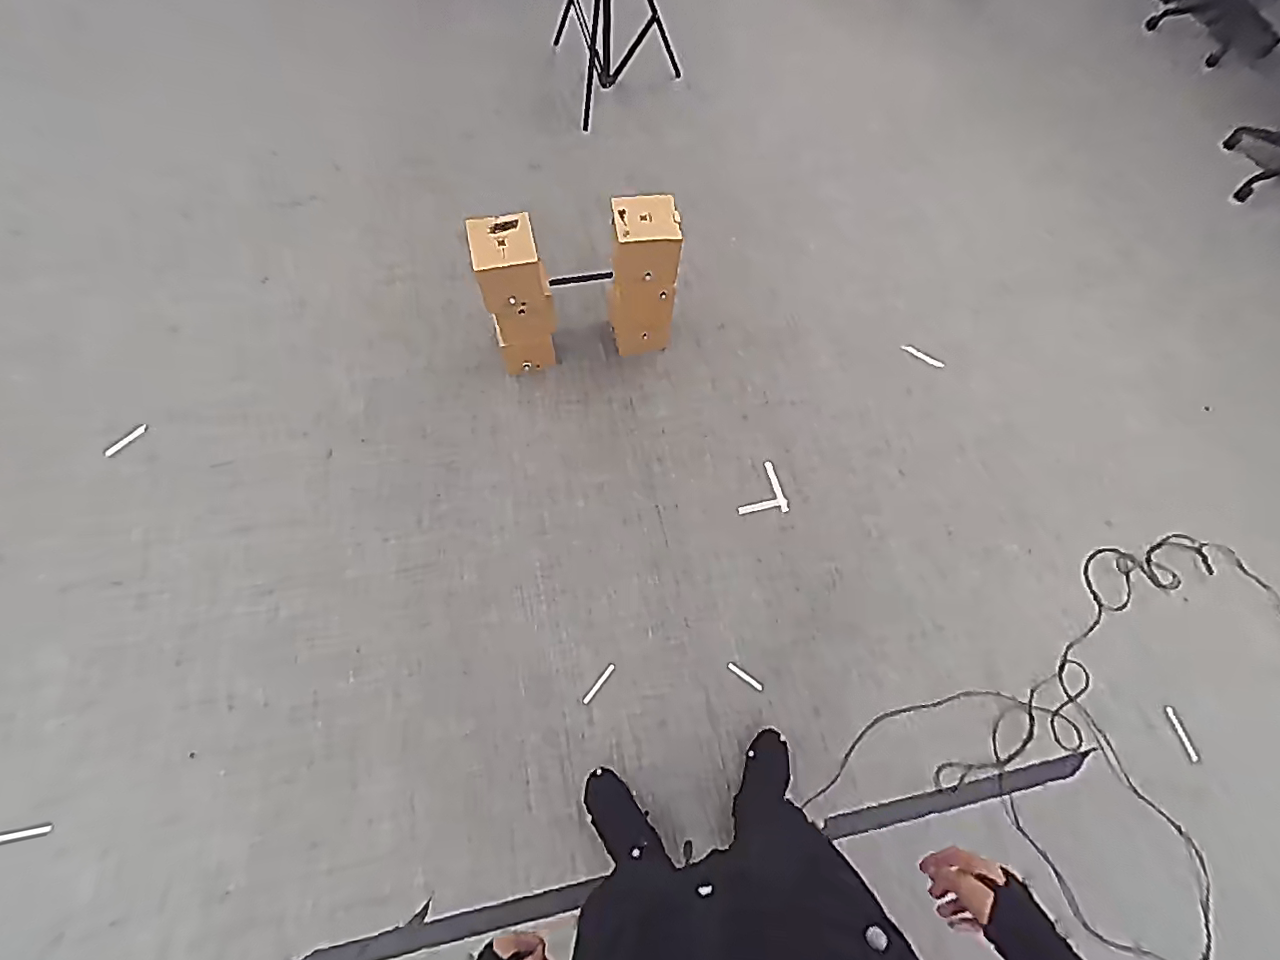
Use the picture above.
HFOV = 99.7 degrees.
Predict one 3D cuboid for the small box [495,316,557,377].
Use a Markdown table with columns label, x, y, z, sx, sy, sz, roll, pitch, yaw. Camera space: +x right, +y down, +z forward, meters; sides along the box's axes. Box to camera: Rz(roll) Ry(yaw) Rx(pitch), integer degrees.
| label | x | y | z | sx | sy | sz | roll | pitch | yaw |
| --- | --- | --- | --- | --- | --- | --- | --- | --- | --- |
| small box | -0.374 | -0.466 | 1.772 | 0.168 | 0.176 | 0.179 | -14 | 69 | -9 |

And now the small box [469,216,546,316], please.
| label | x | y | z | sx | sy | sz | roll | pitch | yaw |
| --- | --- | --- | --- | --- | --- | --- | --- | --- | --- |
| small box | -0.355 | -0.576 | 1.463 | 0.168 | 0.176 | 0.179 | -12 | 69 | -7 |

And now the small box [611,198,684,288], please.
| label | x | y | z | sx | sy | sz | roll | pitch | yaw |
| --- | --- | --- | --- | --- | --- | --- | --- | --- | --- |
| small box | 0.014 | -0.664 | 1.525 | 0.179 | 0.176 | 0.168 | -6 | 67 | -7 |

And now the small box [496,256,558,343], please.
| label | x | y | z | sx | sy | sz | roll | pitch | yaw |
| --- | --- | --- | --- | --- | --- | --- | --- | --- | --- |
| small box | -0.354 | -0.536 | 1.625 | 0.179 | 0.176 | 0.168 | -15 | 68 | -9 |

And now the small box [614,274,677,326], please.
| label | x | y | z | sx | sy | sz | roll | pitch | yaw |
| --- | --- | --- | --- | --- | --- | --- | --- | --- | --- |
| small box | 0.012 | -0.595 | 1.673 | 0.179 | 0.176 | 0.168 | -5 | 67 | -6 |
